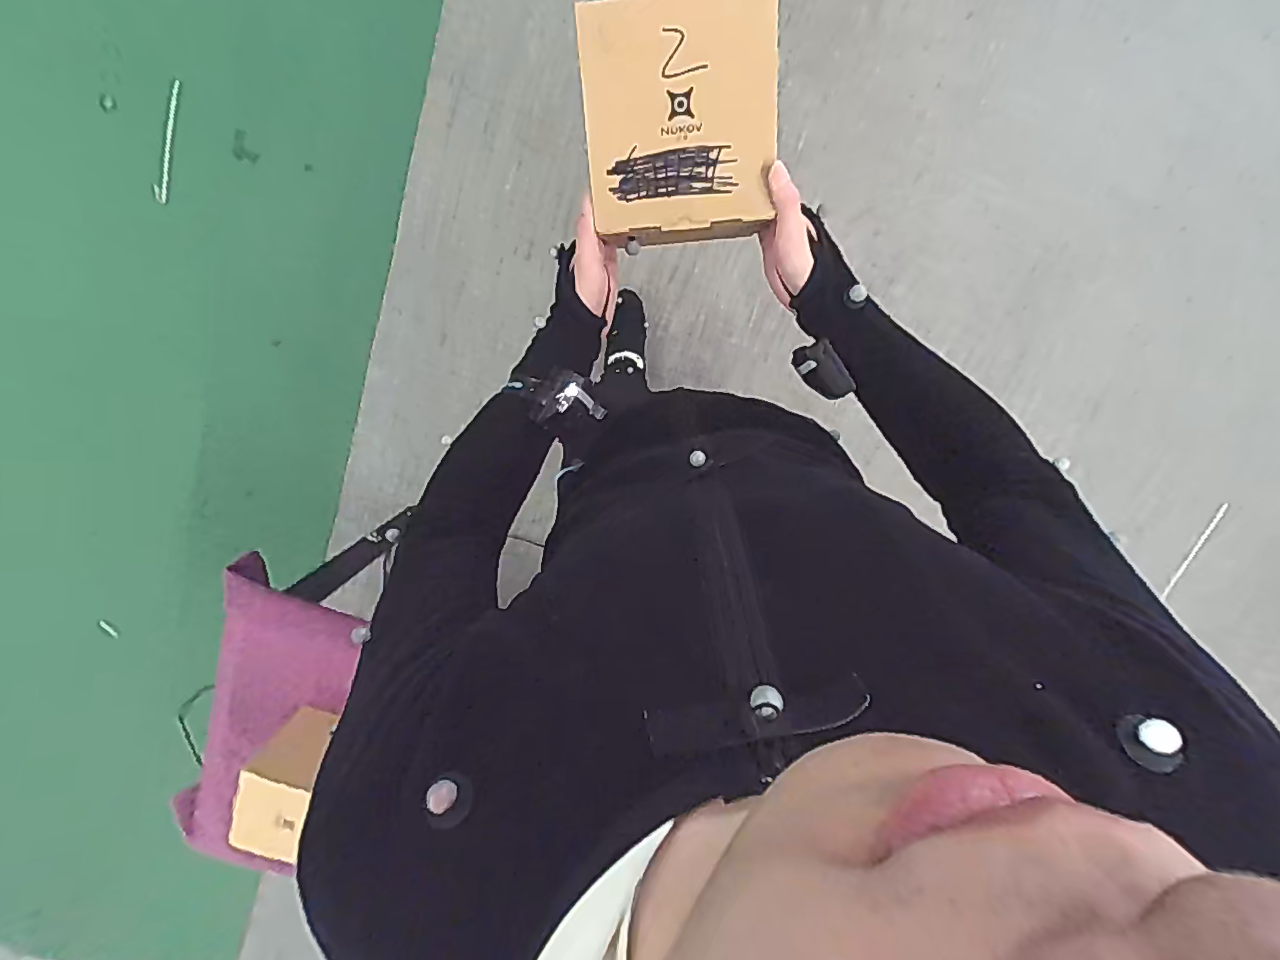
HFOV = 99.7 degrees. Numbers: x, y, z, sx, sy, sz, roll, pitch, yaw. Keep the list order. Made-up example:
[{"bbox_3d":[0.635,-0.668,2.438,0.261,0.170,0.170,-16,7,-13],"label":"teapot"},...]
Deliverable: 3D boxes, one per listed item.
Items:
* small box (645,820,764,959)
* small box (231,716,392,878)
[{"bbox_3d":[0.115,0.786,1.007,0.168,0.176,0.179,16,105,-2],"label":"small box"},{"bbox_3d":[-0.588,0.563,0.983,0.179,0.176,0.168,19,105,-2],"label":"small box"}]
